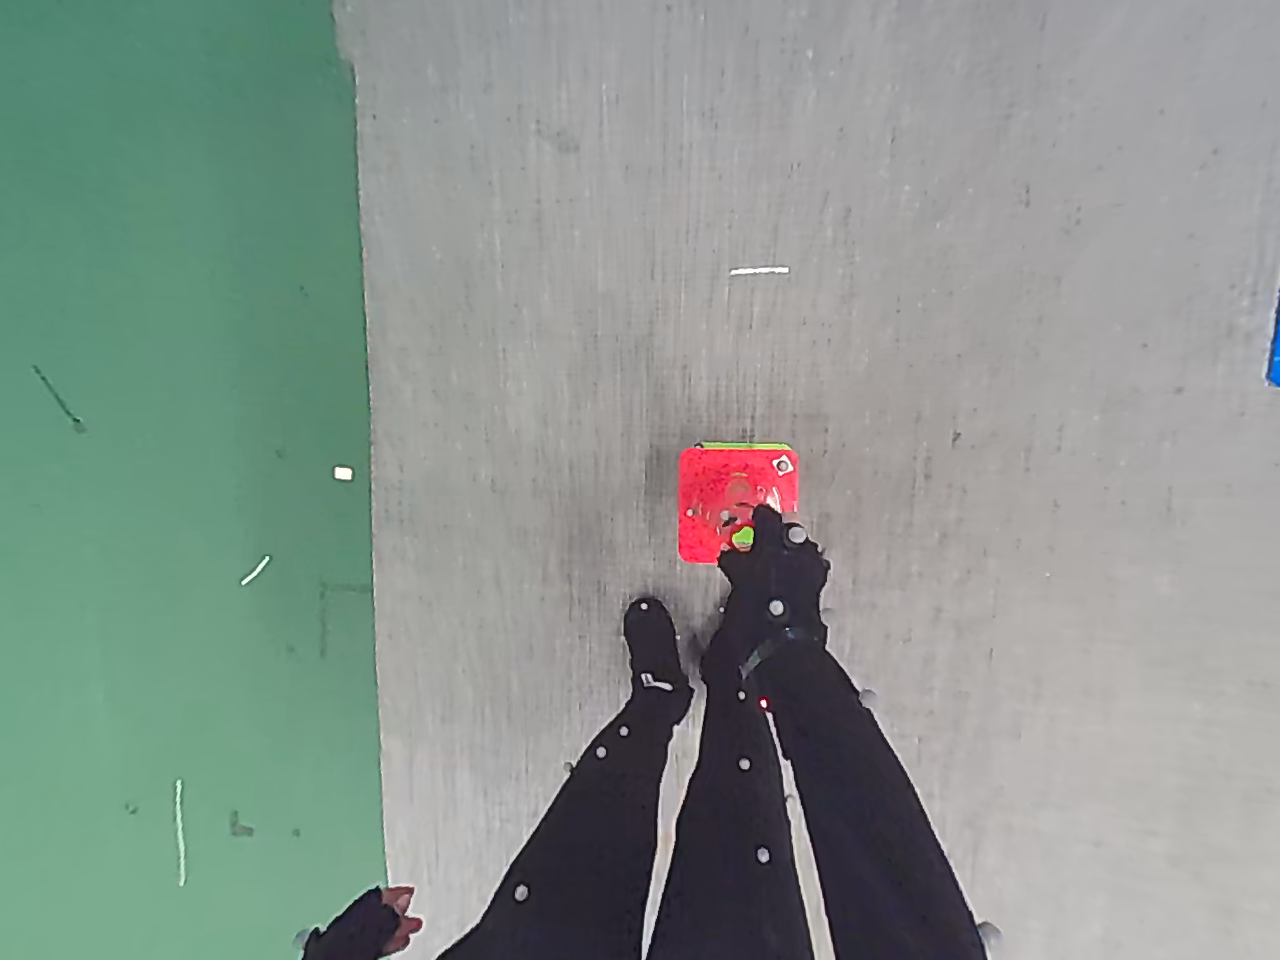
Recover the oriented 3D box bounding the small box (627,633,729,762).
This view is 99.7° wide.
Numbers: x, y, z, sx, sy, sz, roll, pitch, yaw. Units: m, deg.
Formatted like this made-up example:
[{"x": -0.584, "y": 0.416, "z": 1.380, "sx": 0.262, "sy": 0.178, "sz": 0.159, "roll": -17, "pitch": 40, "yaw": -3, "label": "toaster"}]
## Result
[{"x": 0.068, "y": 0.433, "z": 1.091, "sx": 0.168, "sy": 0.176, "sz": 0.179, "roll": 6, "pitch": 99, "yaw": -7, "label": "small box"}]
